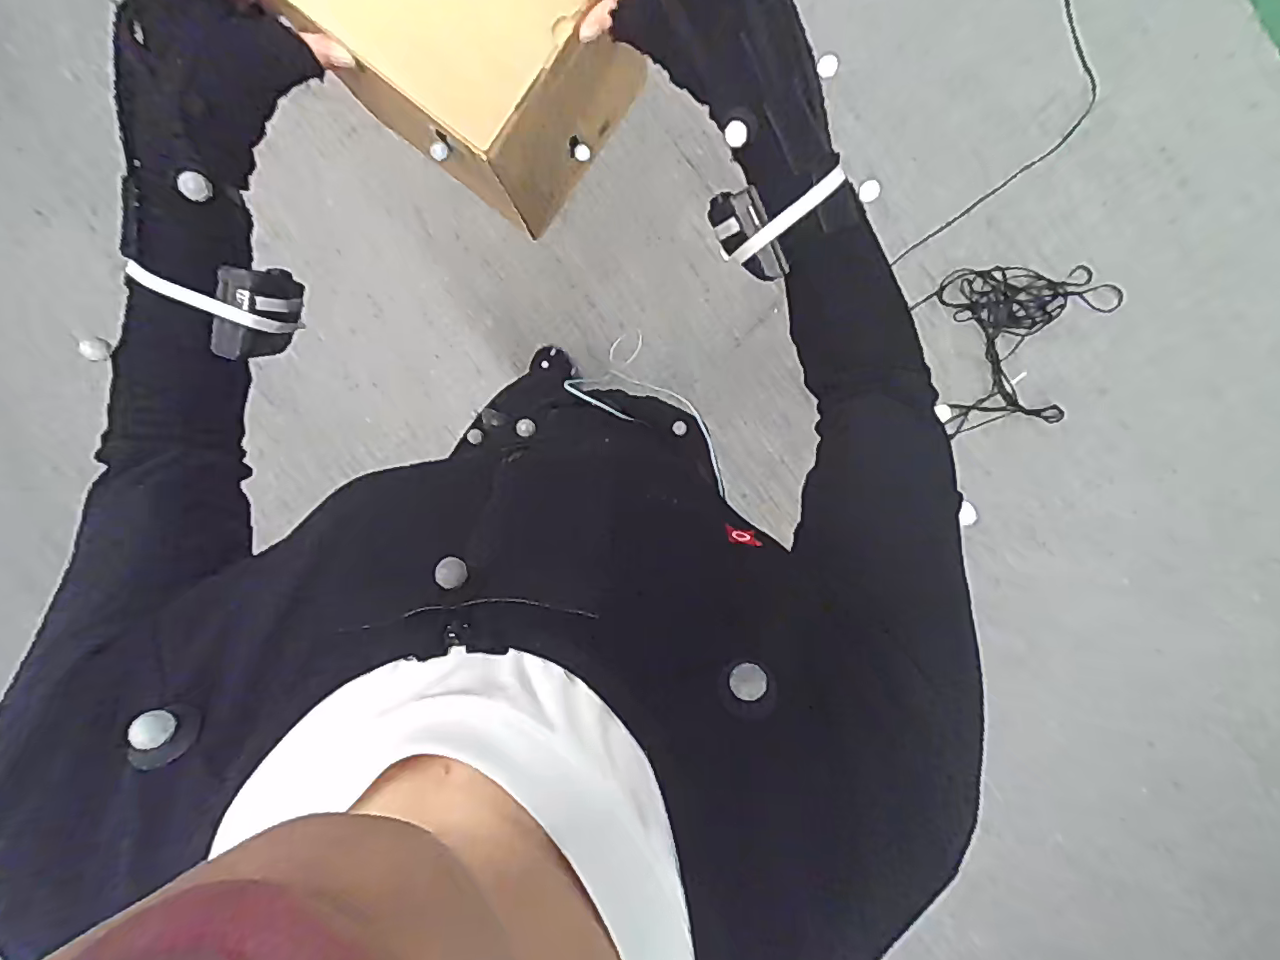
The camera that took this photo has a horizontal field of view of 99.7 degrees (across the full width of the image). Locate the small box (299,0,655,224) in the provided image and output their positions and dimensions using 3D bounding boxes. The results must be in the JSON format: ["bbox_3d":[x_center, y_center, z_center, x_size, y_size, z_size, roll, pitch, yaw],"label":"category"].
[{"bbox_3d":[-0.106,-0.323,0.393,0.179,0.176,0.168,37,96,-6],"label":"small box"}]
